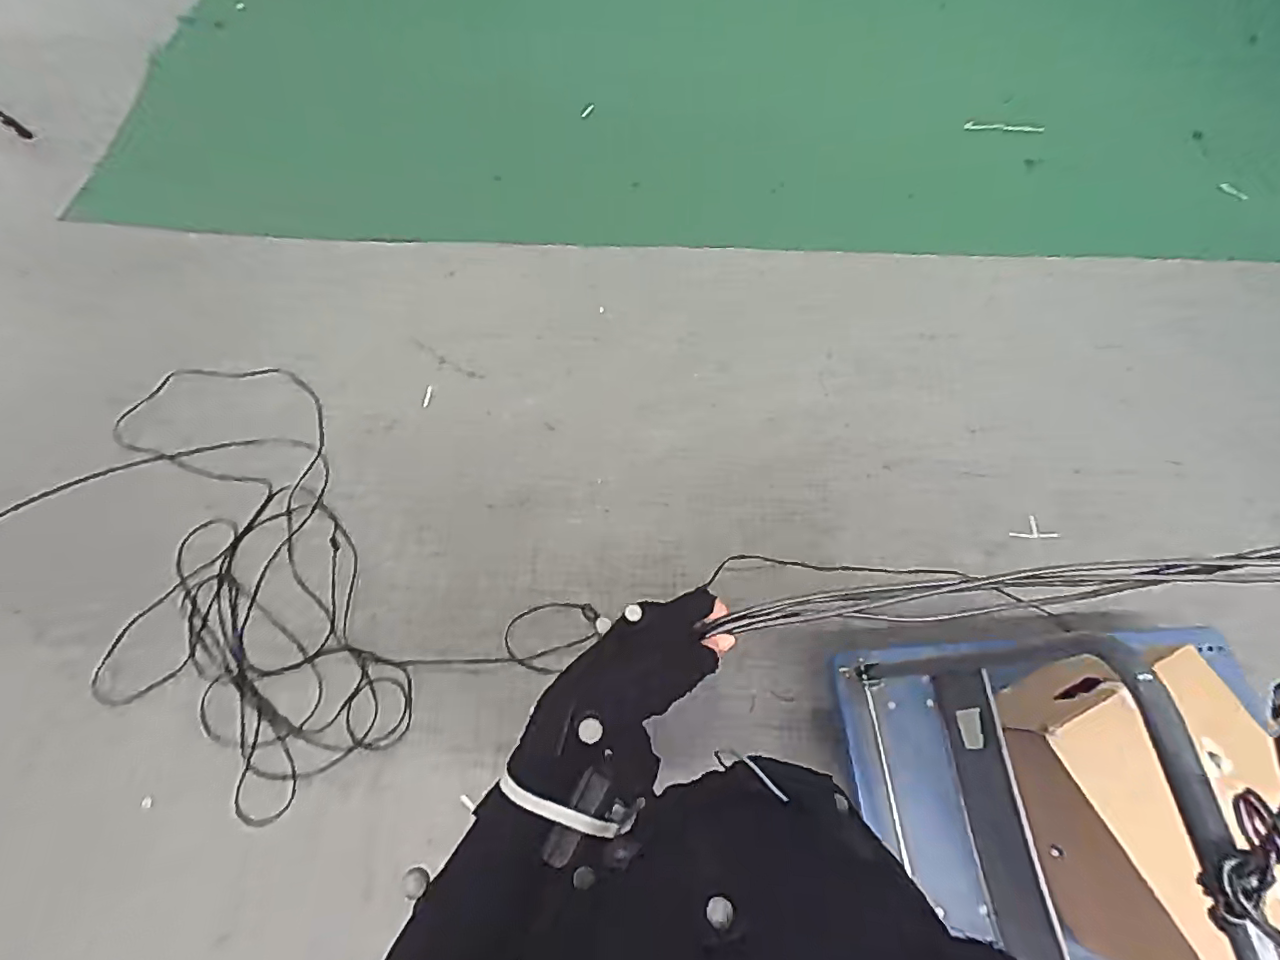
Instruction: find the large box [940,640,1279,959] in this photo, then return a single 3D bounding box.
[{"bbox_3d":[0.841,0.548,0.947,0.320,0.320,0.408,-24,69,-10],"label":"large box"}]
